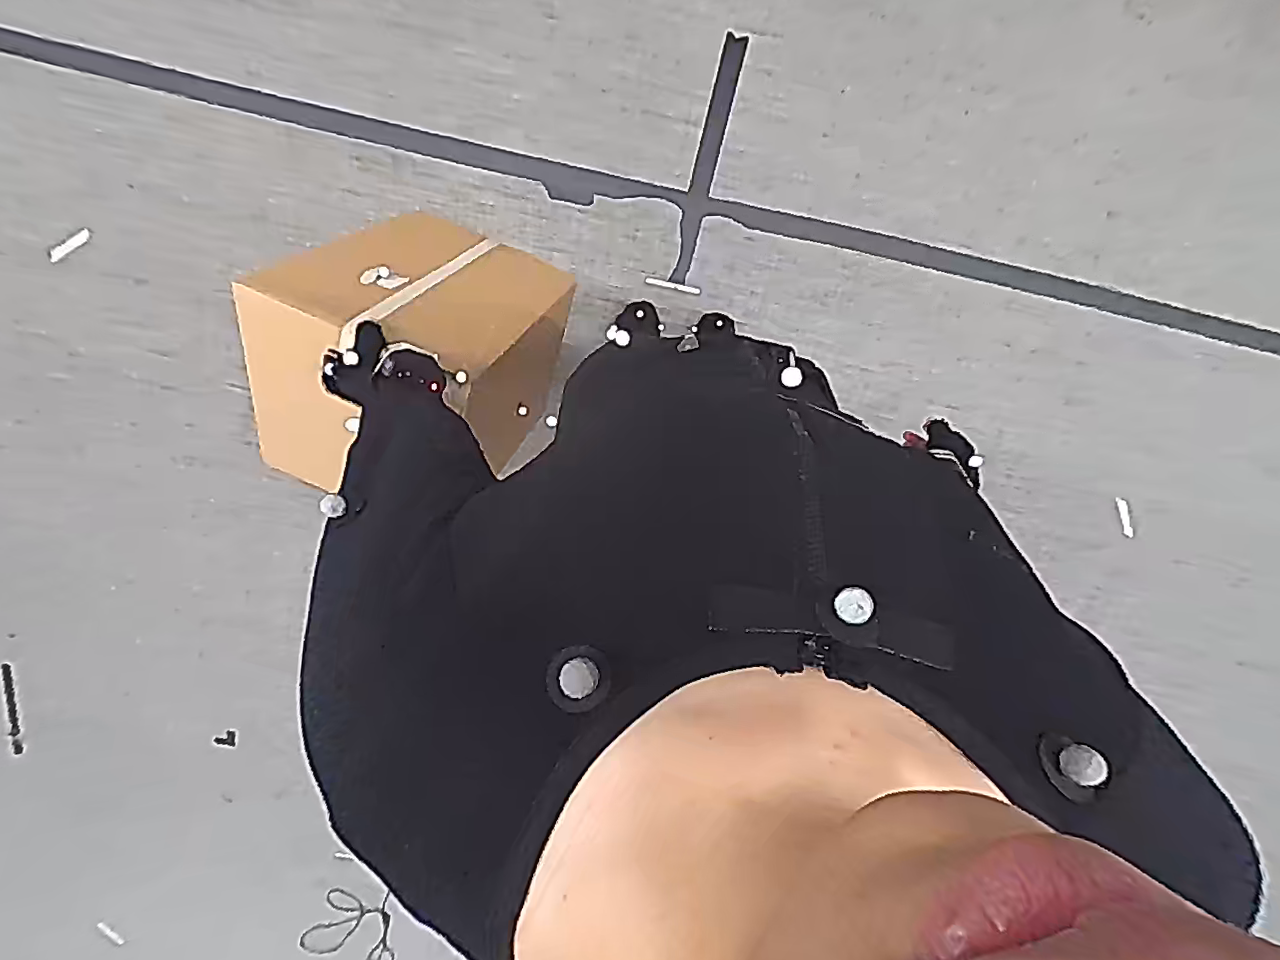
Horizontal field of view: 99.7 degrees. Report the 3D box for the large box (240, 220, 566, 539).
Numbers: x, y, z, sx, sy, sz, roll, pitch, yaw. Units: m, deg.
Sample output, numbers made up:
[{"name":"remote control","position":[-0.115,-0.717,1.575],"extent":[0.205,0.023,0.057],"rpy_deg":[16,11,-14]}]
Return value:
[{"name":"large box","position":[-0.361,-0.182,0.919],"extent":[0.320,0.408,0.320],"rpy_deg":[22,131,-1]}]
